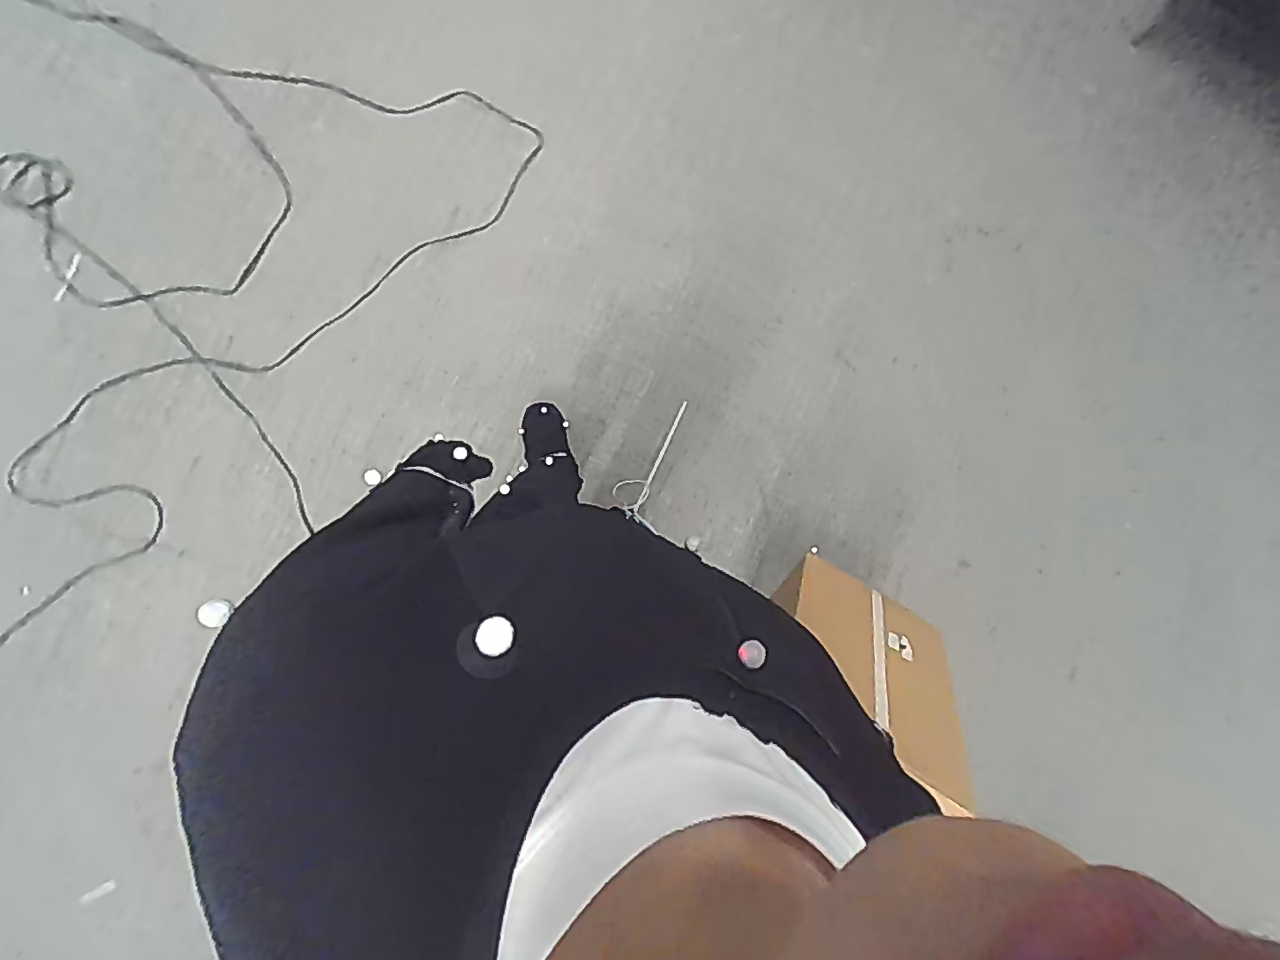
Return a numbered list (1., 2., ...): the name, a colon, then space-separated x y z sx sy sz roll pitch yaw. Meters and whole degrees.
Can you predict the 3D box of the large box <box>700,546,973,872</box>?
1. large box: 0.349 0.407 1.024 0.320 0.408 0.320 31 121 5
